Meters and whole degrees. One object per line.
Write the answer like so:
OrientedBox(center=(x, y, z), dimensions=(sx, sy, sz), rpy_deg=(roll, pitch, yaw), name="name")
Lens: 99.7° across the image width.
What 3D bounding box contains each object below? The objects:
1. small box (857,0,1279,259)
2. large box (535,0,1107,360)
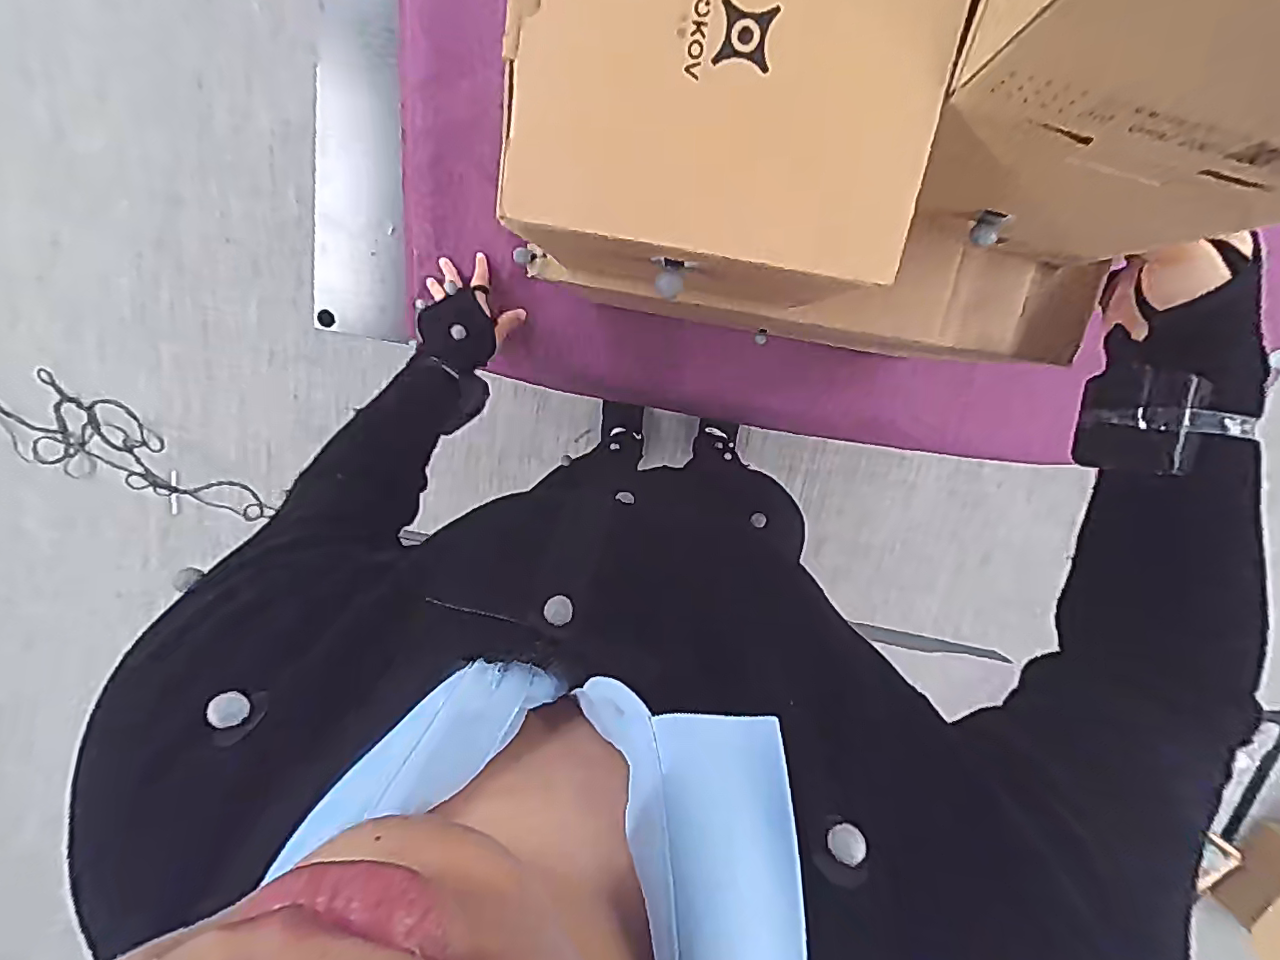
OrientedBox(center=(0.231, -0.228, 0.262), dimensions=(0.168, 0.176, 0.179), rpy_deg=(16, 105, 0), name="small box")
OrientedBox(center=(0.150, -0.296, 0.504), dimensions=(0.408, 0.320, 0.320), rpy_deg=(9, 103, 2), name="large box")
